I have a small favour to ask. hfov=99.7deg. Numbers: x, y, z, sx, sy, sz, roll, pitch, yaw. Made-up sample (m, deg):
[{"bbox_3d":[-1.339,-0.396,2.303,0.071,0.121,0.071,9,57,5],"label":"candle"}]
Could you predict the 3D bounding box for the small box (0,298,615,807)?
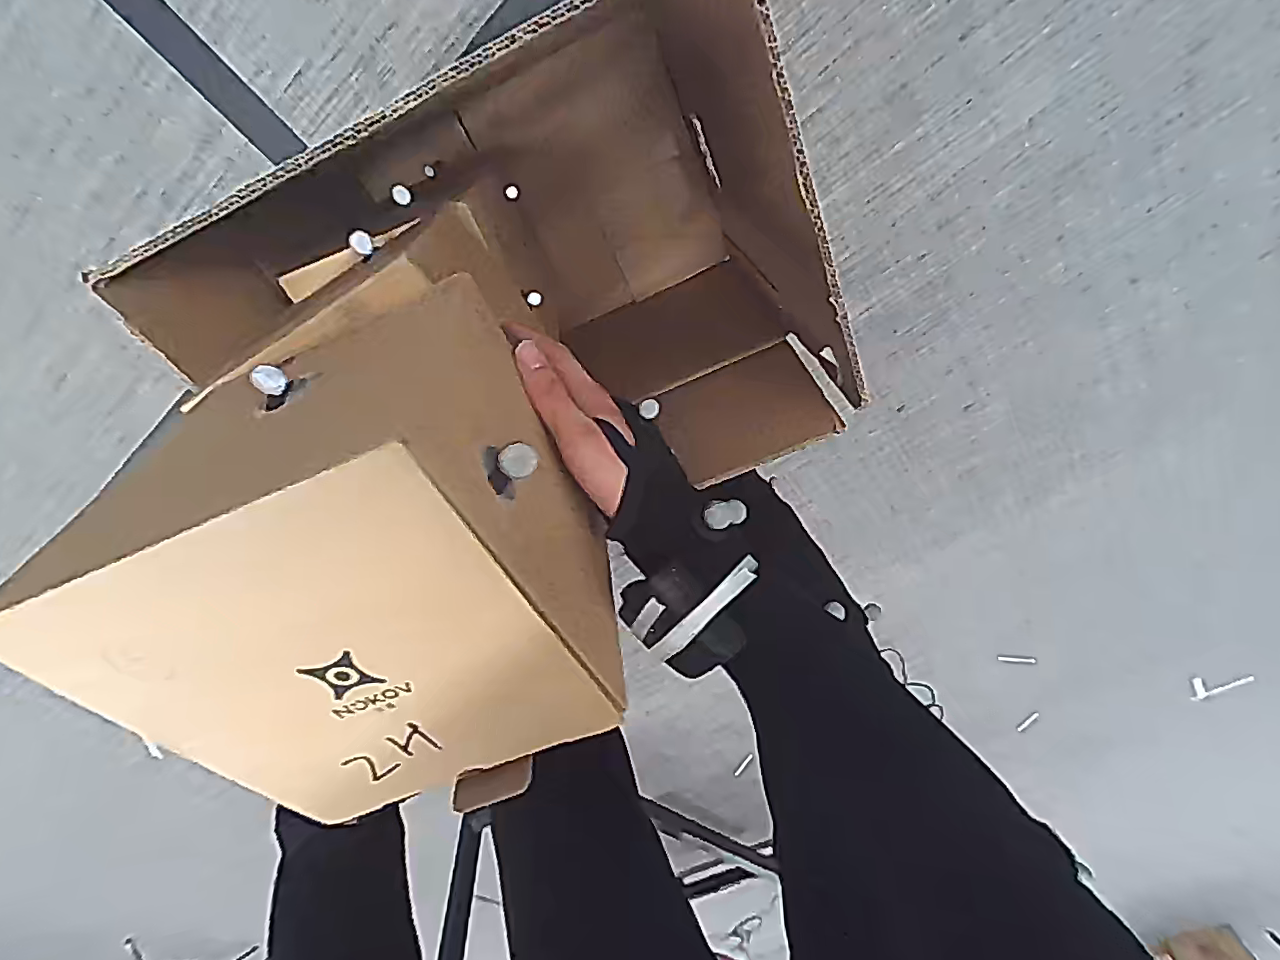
[{"bbox_3d":[-0.127,0.027,0.279,0.168,0.176,0.179,-21,127,7],"label":"small box"}]
